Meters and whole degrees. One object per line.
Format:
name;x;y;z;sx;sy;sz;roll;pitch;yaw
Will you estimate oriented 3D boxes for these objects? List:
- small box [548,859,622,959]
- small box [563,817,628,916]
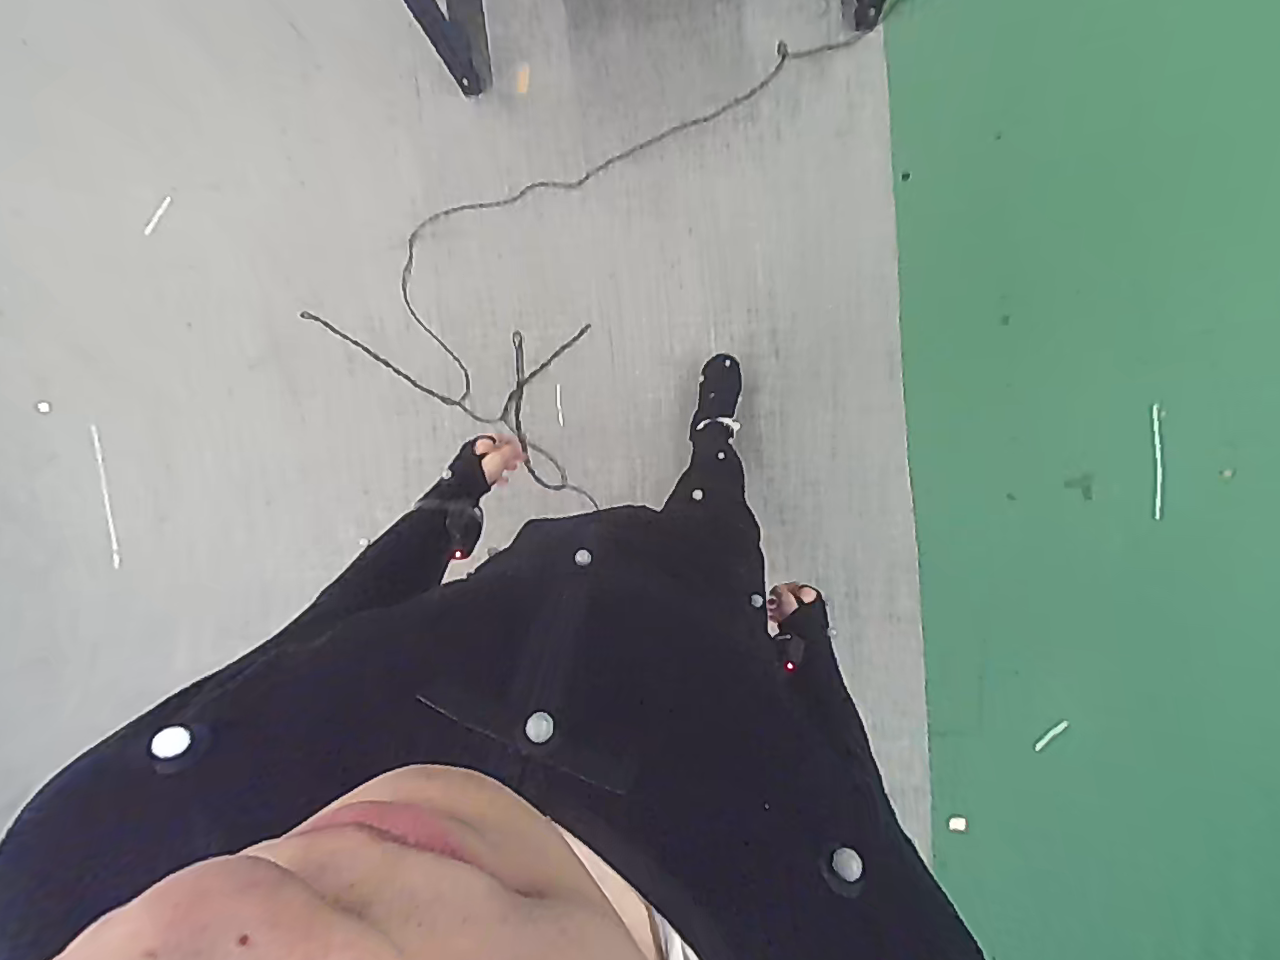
small box;-0.138;1.121;1.398;0.168;0.176;0.179;-1;94;4
small box;-0.125;1.108;1.562;0.168;0.176;0.179;-2;94;4
